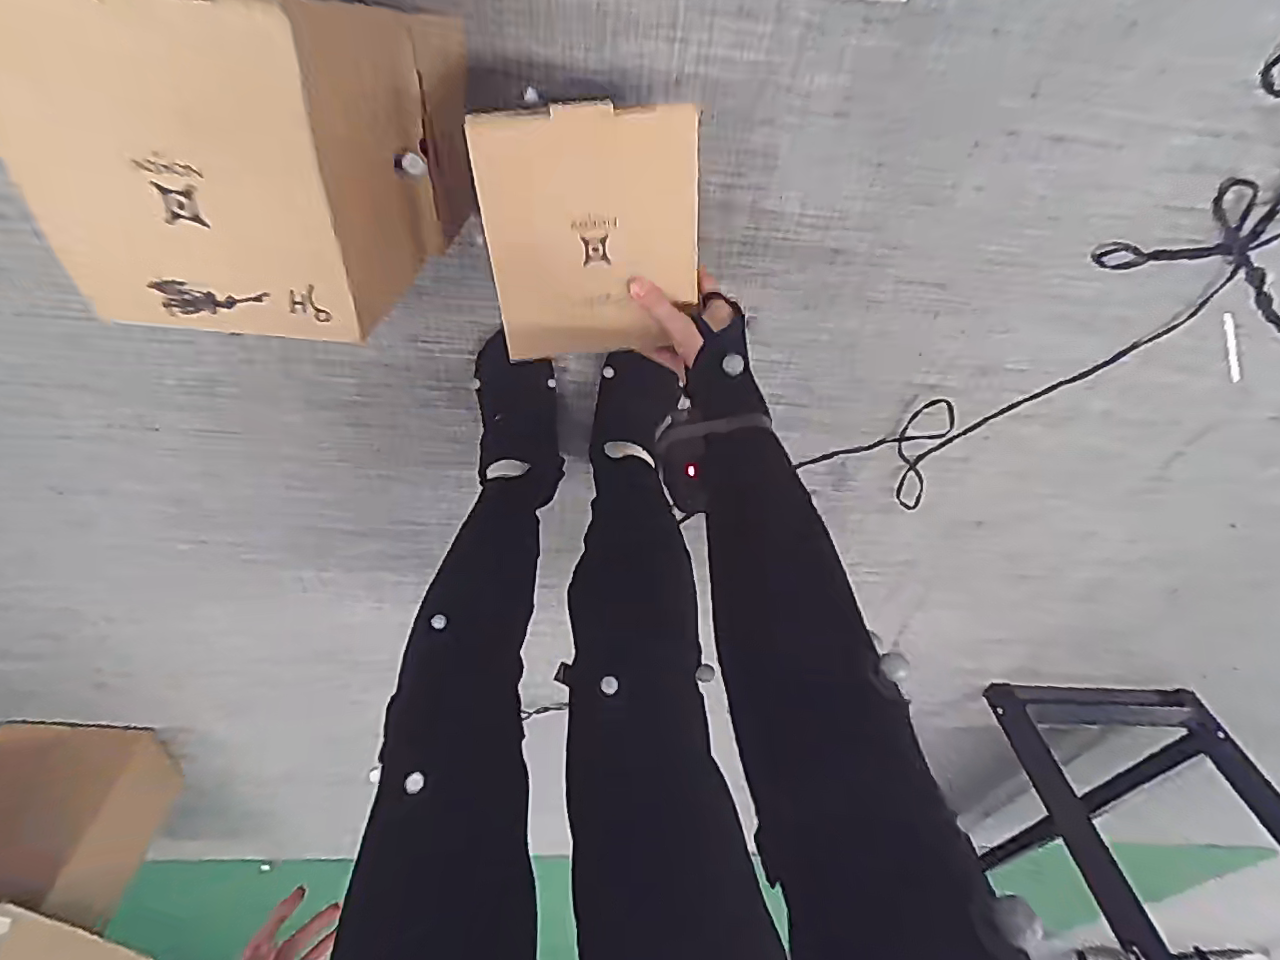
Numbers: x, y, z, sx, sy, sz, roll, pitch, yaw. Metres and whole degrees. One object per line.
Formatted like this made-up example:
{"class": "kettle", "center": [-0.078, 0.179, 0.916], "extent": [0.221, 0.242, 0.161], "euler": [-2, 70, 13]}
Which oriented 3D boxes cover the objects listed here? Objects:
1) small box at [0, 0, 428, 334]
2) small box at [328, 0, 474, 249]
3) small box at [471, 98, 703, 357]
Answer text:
{"class": "small box", "center": [-0.257, -0.221, 0.365], "extent": [0.168, 0.176, 0.179], "euler": [5, 128, -5]}
{"class": "small box", "center": [-0.255, -0.327, 0.492], "extent": [0.179, 0.176, 0.168], "euler": [4, 129, -4]}
{"class": "small box", "center": [-0.044, -0.227, 0.484], "extent": [0.168, 0.176, 0.179], "euler": [-6, 124, -5]}
